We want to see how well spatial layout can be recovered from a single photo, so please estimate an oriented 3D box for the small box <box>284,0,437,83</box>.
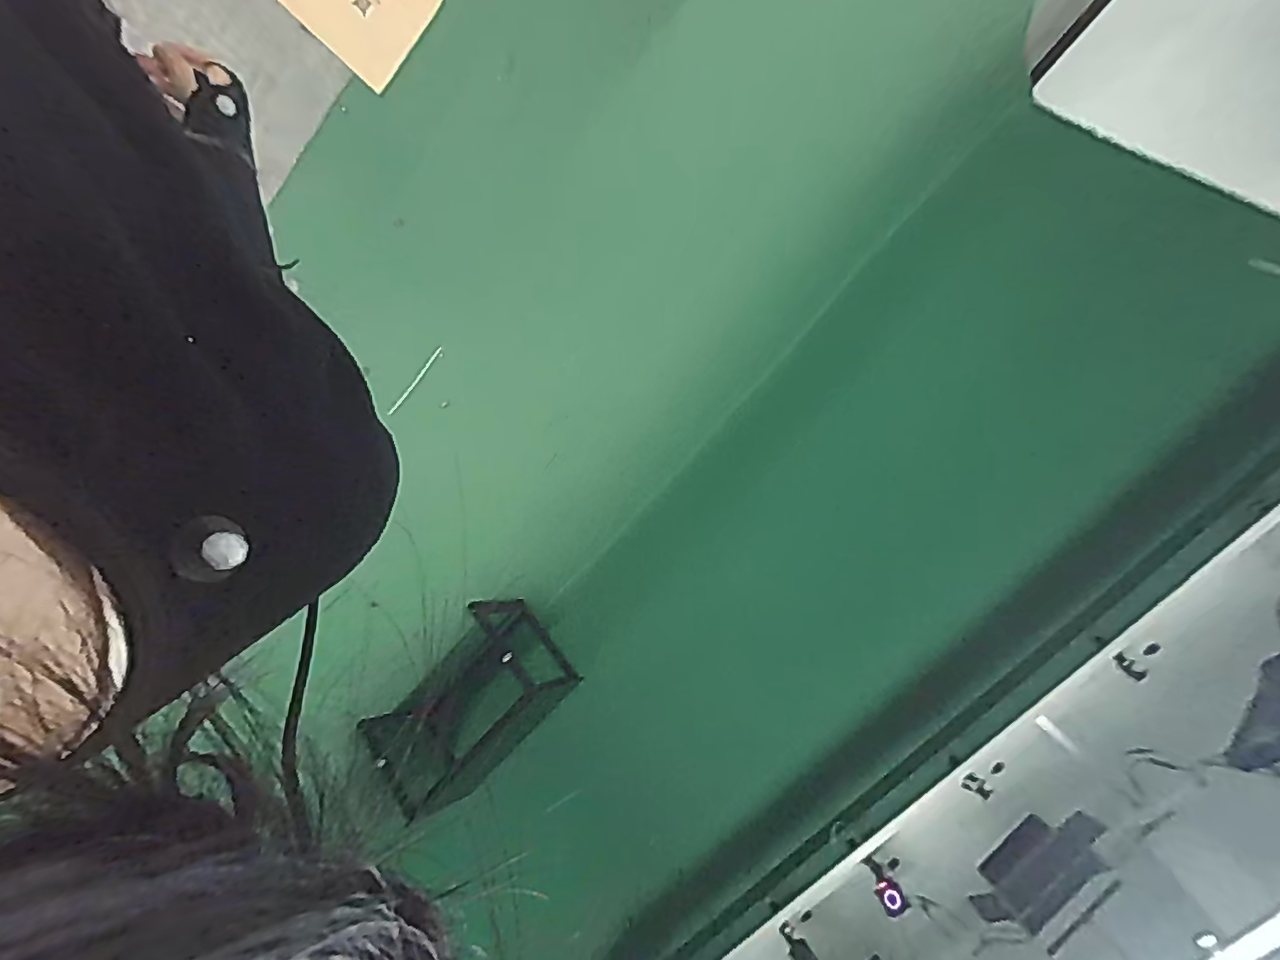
[{"bbox_3d":[-0.436,-0.746,0.785,0.179,0.176,0.168,-46,159,11],"label":"small box"}]
